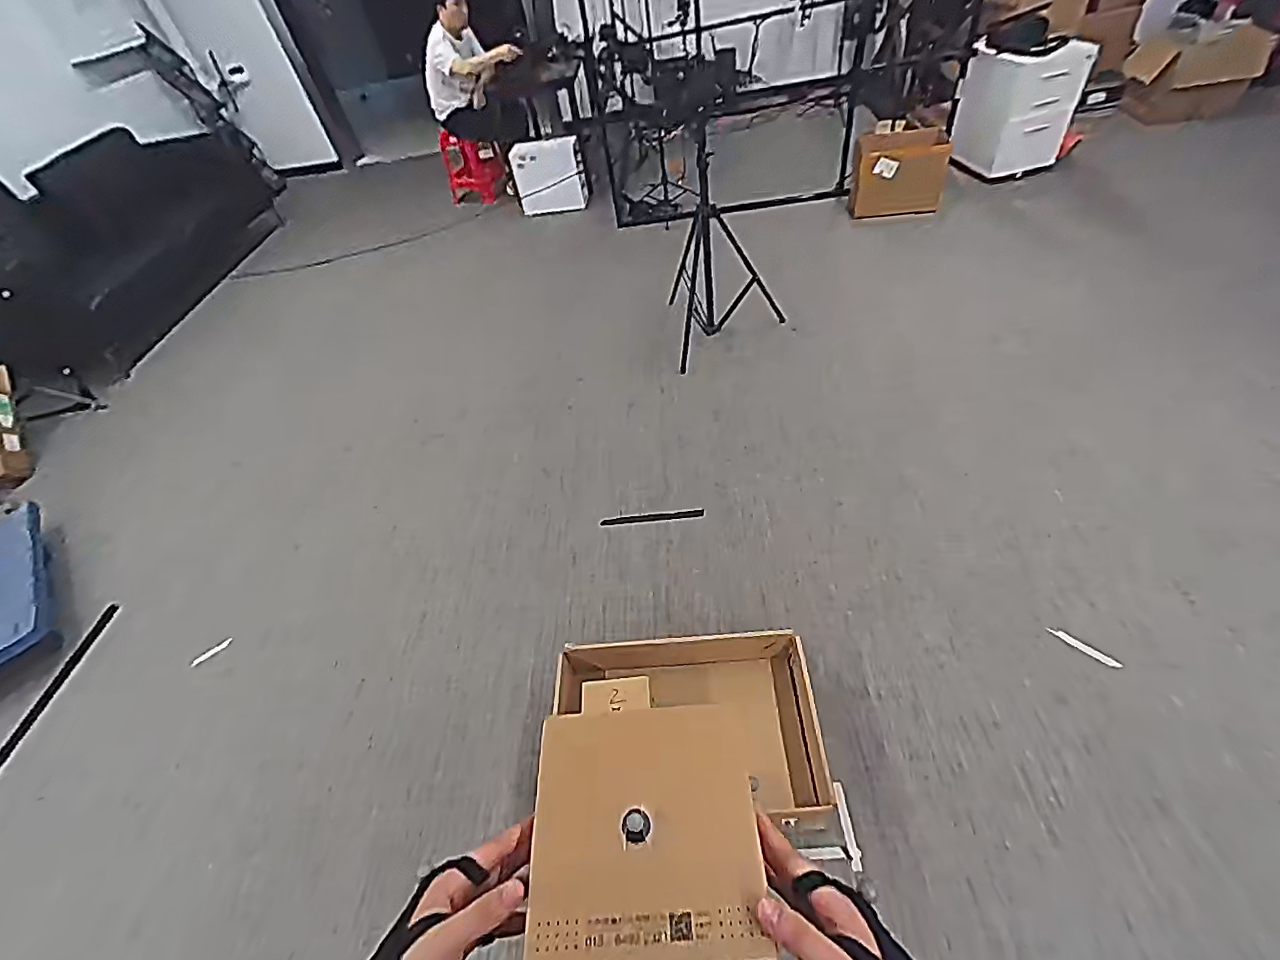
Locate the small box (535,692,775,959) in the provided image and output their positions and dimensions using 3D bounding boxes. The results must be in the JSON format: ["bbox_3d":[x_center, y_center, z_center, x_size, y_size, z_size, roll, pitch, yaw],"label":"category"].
[{"bbox_3d":[0.012,0.303,0.458,0.168,0.179,0.176,-5,45,2],"label":"small box"}]
